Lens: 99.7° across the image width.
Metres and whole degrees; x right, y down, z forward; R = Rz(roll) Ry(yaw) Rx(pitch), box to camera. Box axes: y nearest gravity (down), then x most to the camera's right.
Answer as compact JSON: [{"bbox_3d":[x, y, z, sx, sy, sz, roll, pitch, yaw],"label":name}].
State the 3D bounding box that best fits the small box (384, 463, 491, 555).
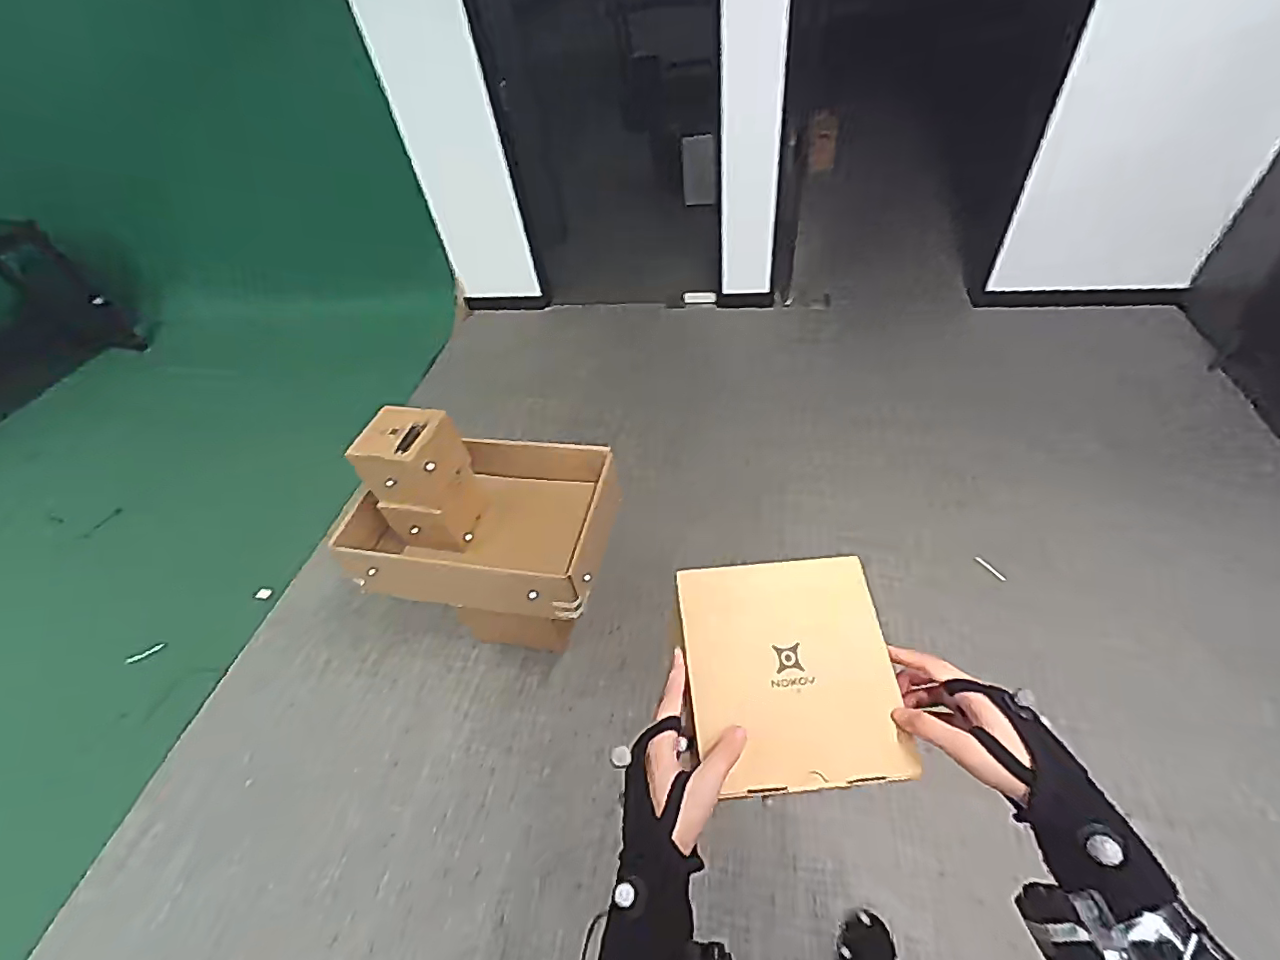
[{"bbox_3d":[-0.511,0.077,1.399,0.179,0.176,0.168,5,49,14],"label":"small box"}]
